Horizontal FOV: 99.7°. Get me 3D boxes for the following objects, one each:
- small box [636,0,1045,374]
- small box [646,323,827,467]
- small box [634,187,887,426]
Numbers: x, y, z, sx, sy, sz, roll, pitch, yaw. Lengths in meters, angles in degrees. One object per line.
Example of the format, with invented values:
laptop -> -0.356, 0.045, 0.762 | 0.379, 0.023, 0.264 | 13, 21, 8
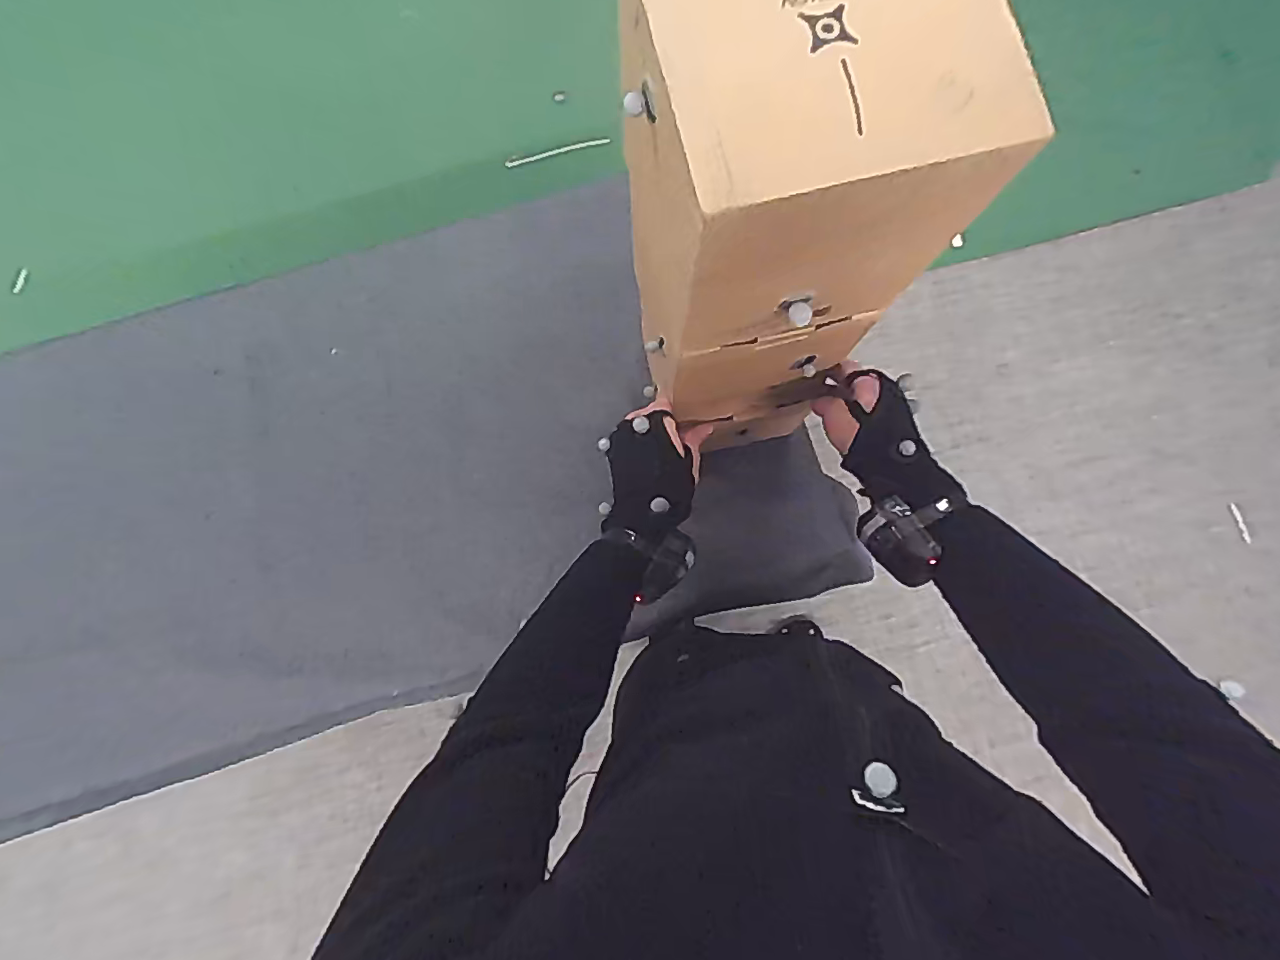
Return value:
small box -> 0.092, -0.191, 0.343 | 0.168, 0.176, 0.179 | -14, 81, -1
small box -> 0.106, -0.120, 0.663 | 0.168, 0.176, 0.179 | -13, 81, -1
small box -> 0.095, -0.160, 0.505 | 0.168, 0.176, 0.179 | -14, 79, -2
